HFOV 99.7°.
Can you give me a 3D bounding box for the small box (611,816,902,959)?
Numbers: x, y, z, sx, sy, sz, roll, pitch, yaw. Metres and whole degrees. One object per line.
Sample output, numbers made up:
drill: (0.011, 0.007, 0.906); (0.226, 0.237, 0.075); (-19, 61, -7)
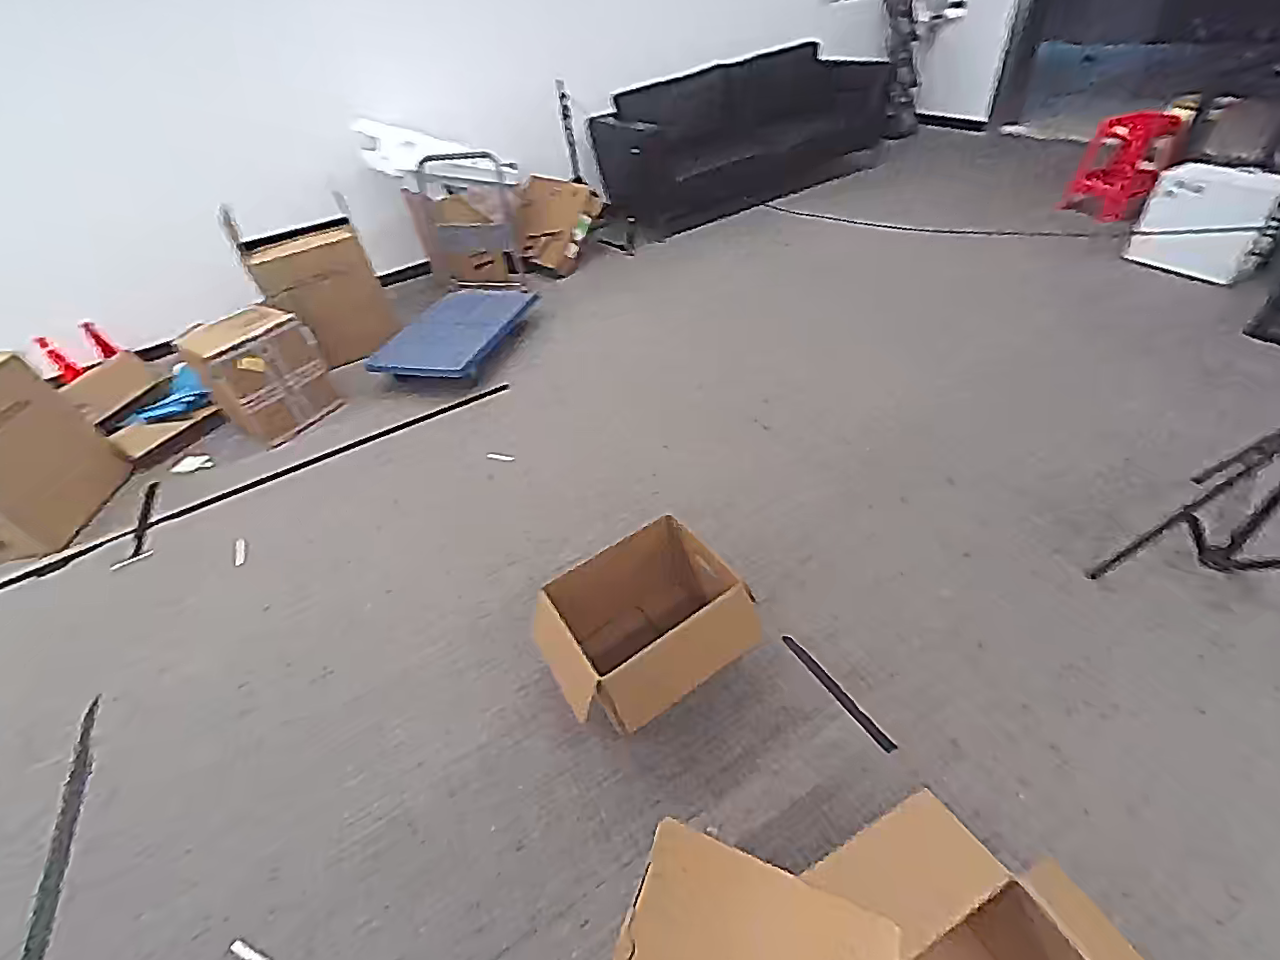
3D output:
small box: (0.066, 0.382, 0.391); (0.179, 0.176, 0.168); (15, 49, 16)
